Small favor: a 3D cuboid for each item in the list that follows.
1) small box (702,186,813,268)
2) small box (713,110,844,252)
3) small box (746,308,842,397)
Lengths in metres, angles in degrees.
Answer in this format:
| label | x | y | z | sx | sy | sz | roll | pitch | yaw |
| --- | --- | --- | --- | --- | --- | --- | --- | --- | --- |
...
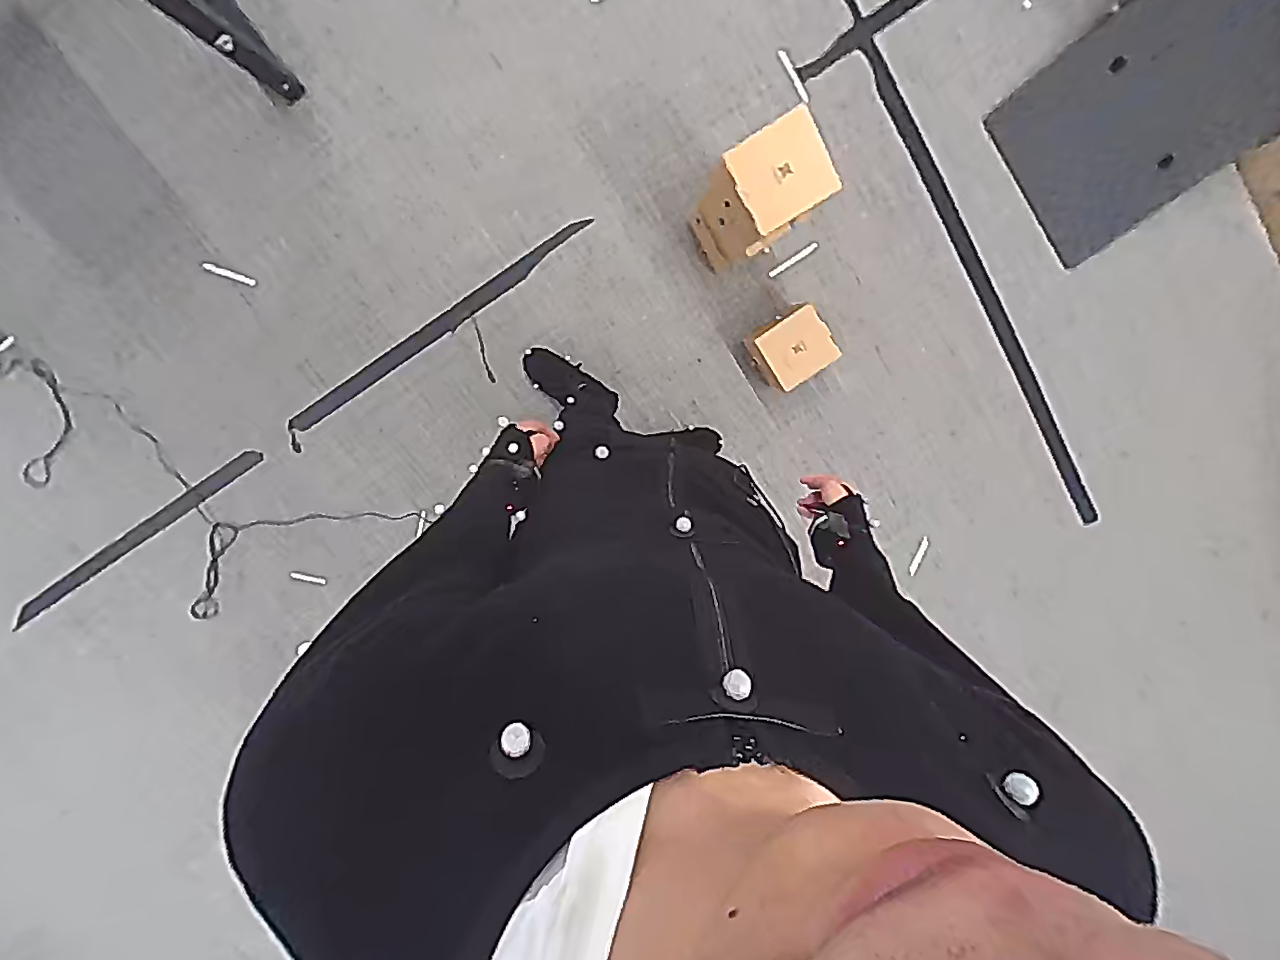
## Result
| label | x | y | z | sx | sy | sz | roll | pitch | yaw |
| --- | --- | --- | --- | --- | --- | --- | --- | --- | --- |
| small box | 0.261 | -0.613 | 1.241 | 0.168 | 0.176 | 0.179 | -33 | 104 | 6 |
| small box | 0.267 | -0.584 | 1.080 | 0.179 | 0.176 | 0.168 | -31 | 104 | 6 |
| small box | 0.415 | -0.350 | 1.485 | 0.179 | 0.176 | 0.168 | -34 | 102 | 8 |
